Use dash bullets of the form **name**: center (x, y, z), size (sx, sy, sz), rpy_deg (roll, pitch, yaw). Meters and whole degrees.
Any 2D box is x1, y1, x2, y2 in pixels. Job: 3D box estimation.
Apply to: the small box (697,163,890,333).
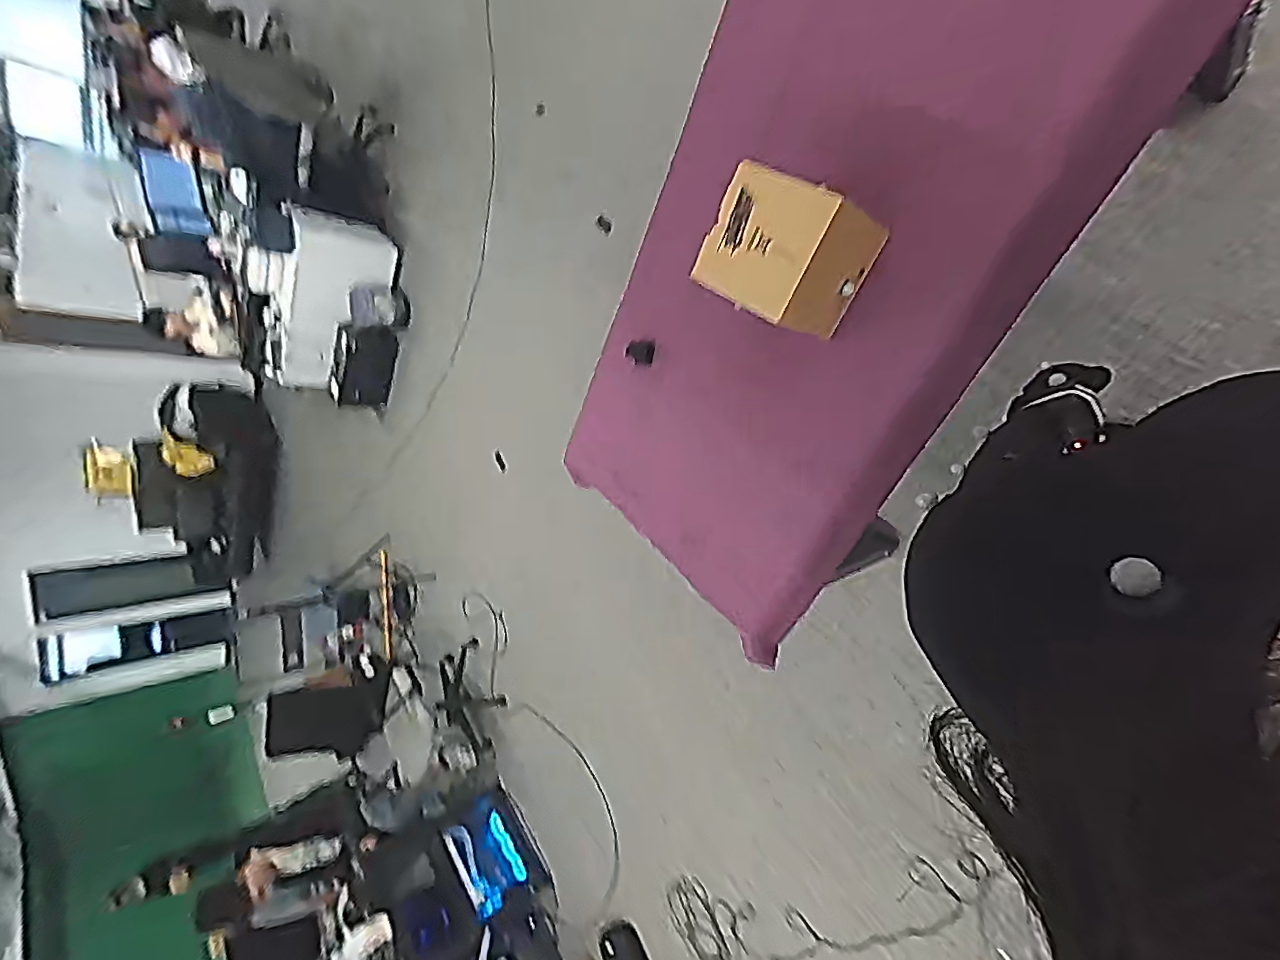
- **small box**: center (0.223, -0.330, 0.791), size (0.179, 0.176, 0.168), rpy_deg (43, 121, 33)
